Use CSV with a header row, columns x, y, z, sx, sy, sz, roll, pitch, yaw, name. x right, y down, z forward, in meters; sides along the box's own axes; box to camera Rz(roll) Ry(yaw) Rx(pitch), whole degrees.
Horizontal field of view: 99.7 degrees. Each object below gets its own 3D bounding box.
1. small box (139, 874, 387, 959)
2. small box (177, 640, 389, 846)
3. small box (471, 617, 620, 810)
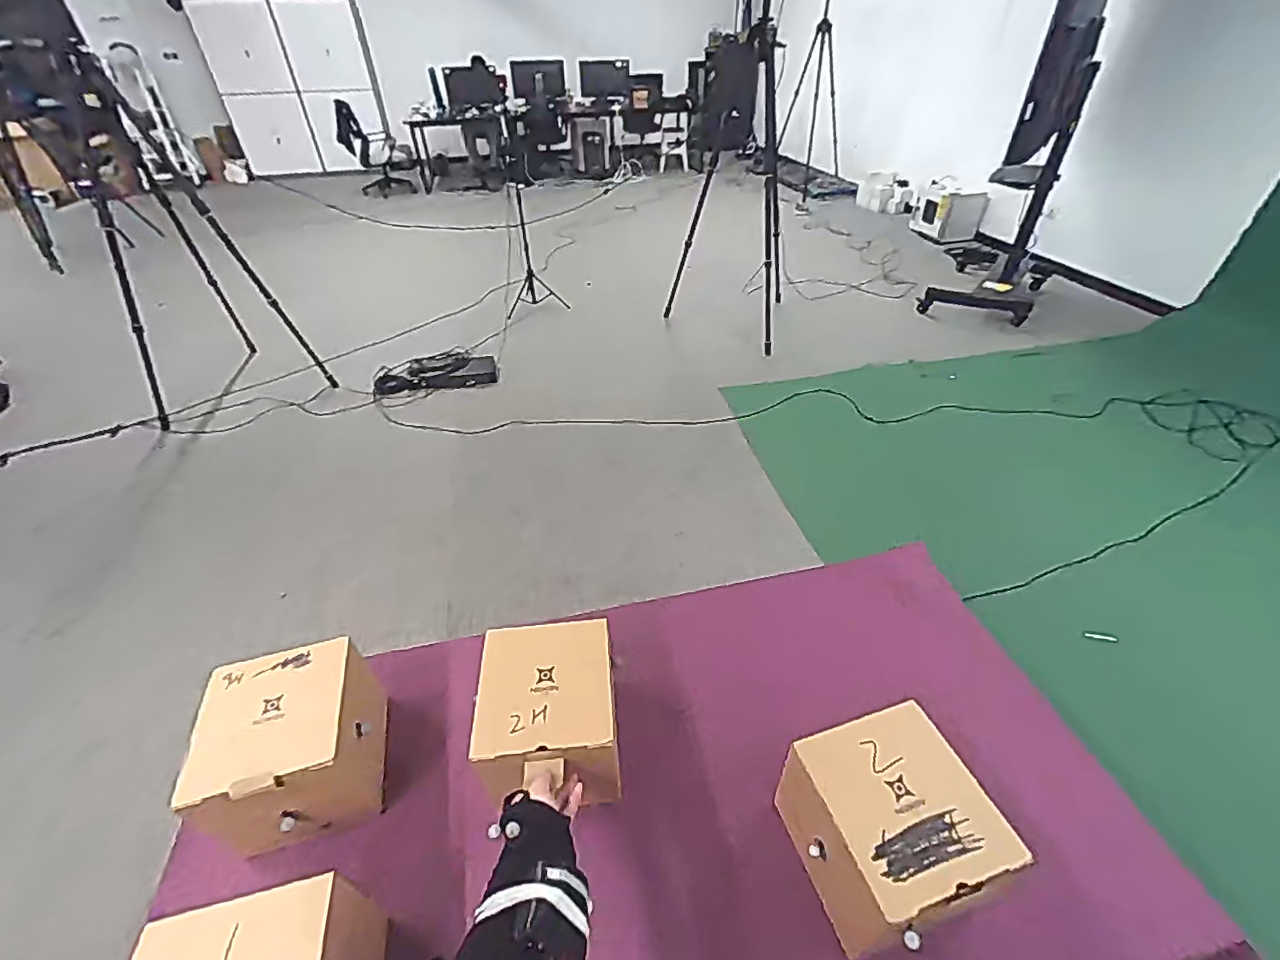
x,y,z,sx,sy,sz,roll,pitch,yaw,name
-0.352,0.513,0.502,0.168,0.176,0.179,-10,39,-10,small box
-0.441,0.346,0.706,0.168,0.176,0.179,-12,42,-12,small box
-0.117,0.312,0.730,0.168,0.176,0.179,-5,40,-3,small box
